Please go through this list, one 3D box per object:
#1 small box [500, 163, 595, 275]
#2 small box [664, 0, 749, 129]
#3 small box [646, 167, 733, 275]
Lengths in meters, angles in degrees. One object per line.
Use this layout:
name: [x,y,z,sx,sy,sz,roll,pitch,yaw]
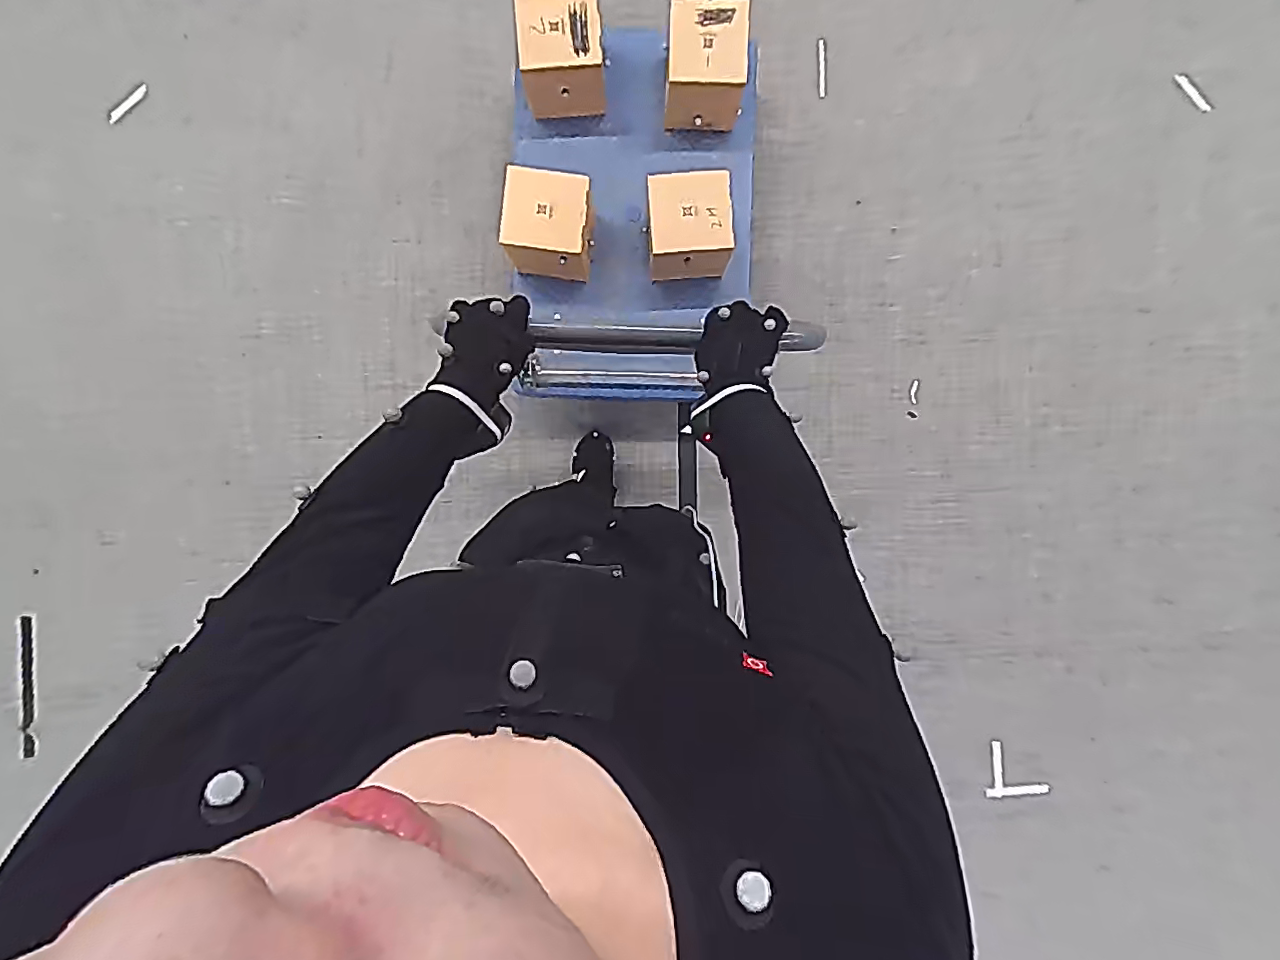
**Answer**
small box: [-0.201,-0.576,1.215,0.179,0.176,0.168,7,91,-2]
small box: [0.142,-0.926,1.204,0.168,0.176,0.179,2,93,0]
small box: [0.106,-0.572,1.216,0.179,0.176,0.168,-4,92,0]
